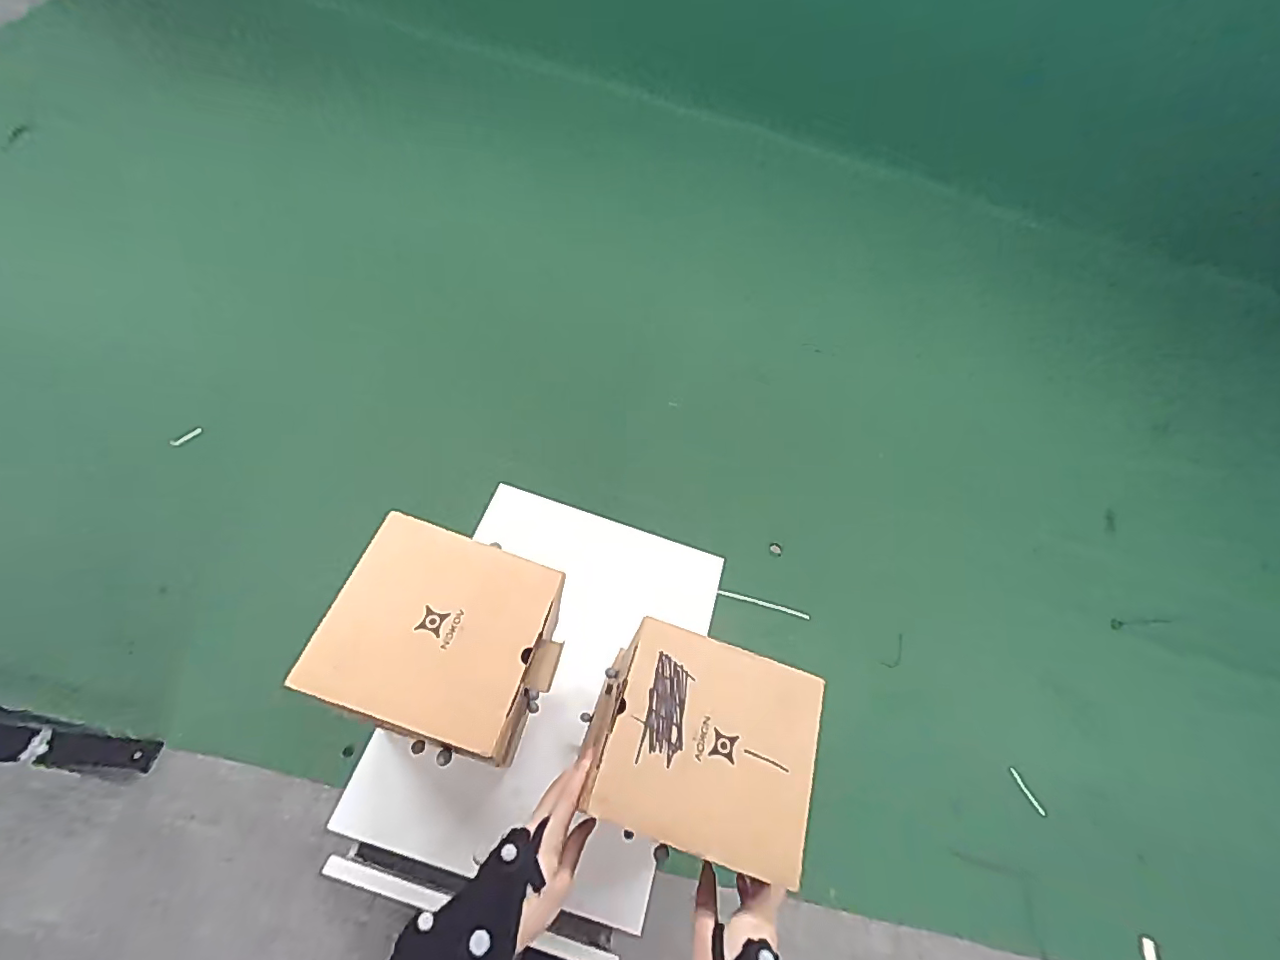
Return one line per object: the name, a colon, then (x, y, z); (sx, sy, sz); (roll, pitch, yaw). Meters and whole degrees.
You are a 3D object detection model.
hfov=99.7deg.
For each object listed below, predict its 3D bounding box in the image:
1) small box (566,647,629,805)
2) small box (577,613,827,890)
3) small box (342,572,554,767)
small box: (0.018, 0.327, 0.656); (0.179, 0.176, 0.168); (20, 59, 1)
small box: (0.049, 0.252, 0.512); (0.179, 0.176, 0.168); (21, 59, 1)
small box: (-0.217, 0.240, 0.662); (0.179, 0.176, 0.168); (18, 58, -1)
